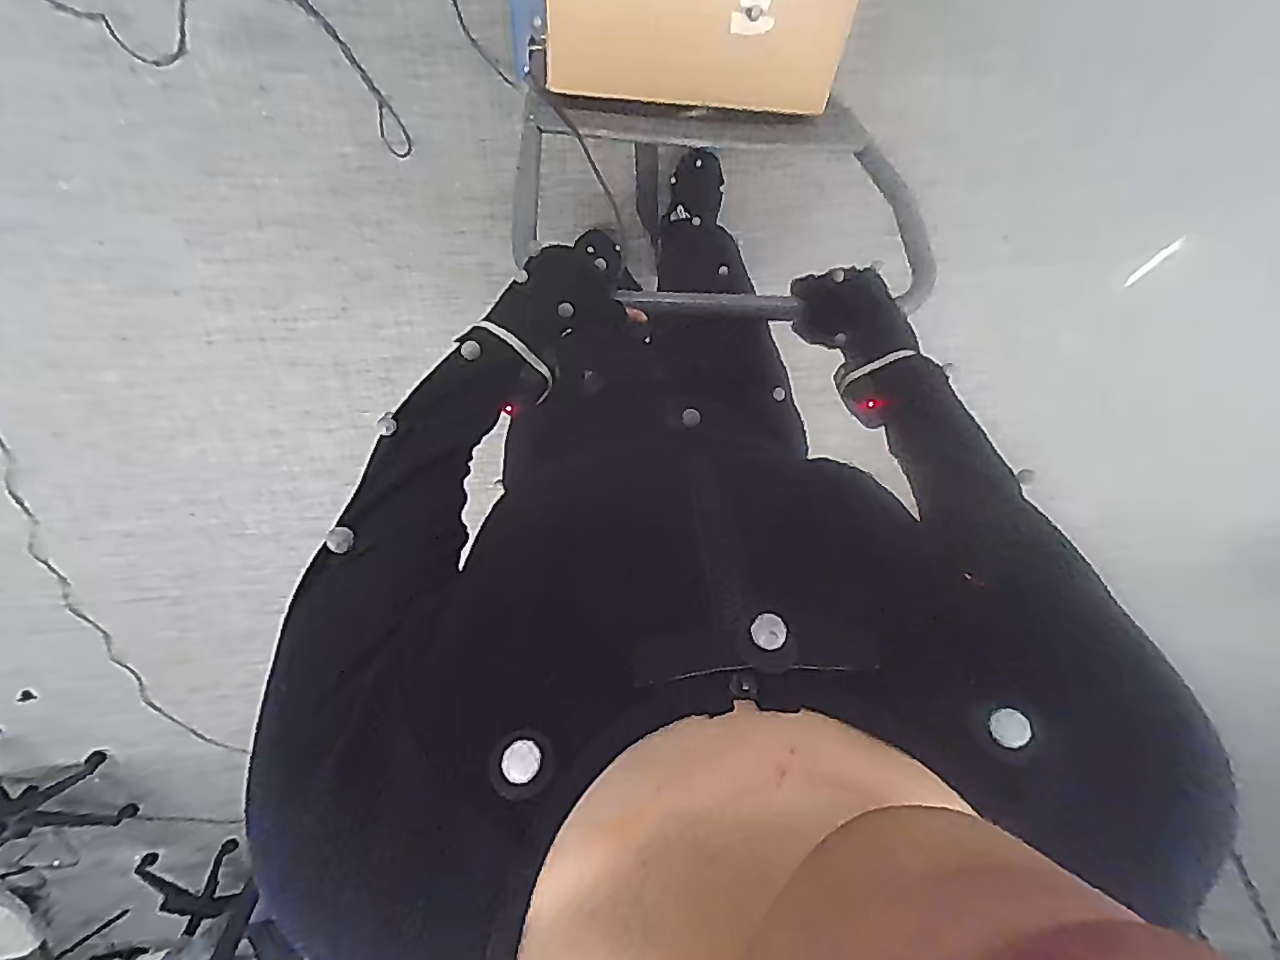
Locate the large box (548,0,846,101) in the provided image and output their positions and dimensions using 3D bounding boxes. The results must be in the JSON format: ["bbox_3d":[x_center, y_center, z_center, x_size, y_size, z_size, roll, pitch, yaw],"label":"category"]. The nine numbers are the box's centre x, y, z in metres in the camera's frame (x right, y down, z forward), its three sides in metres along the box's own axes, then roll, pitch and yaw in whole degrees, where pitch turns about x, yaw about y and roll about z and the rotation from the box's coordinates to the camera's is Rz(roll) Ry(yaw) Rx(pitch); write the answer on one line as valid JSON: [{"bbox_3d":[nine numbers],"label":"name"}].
[{"bbox_3d":[0.068,-0.776,0.772,0.408,0.320,0.320,-1,141,-7],"label":"large box"}]
